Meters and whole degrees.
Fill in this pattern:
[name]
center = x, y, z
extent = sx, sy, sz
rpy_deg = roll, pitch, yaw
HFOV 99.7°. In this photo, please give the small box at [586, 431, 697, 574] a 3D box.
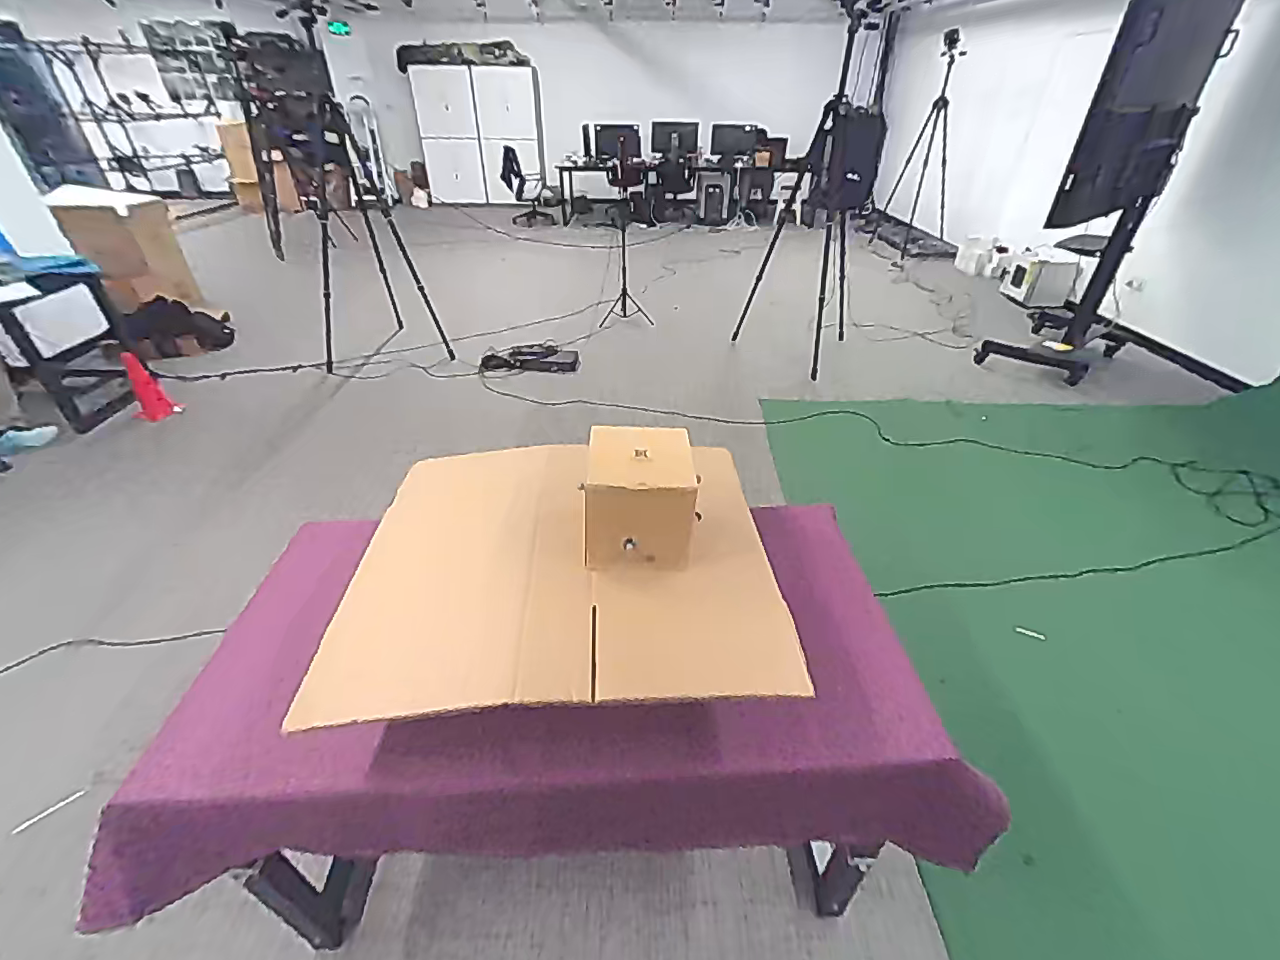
[small box]
center = -0.003, 0.035, 0.903
extent = 0.168, 0.176, 0.179
rpy_deg = 1, 36, -3
